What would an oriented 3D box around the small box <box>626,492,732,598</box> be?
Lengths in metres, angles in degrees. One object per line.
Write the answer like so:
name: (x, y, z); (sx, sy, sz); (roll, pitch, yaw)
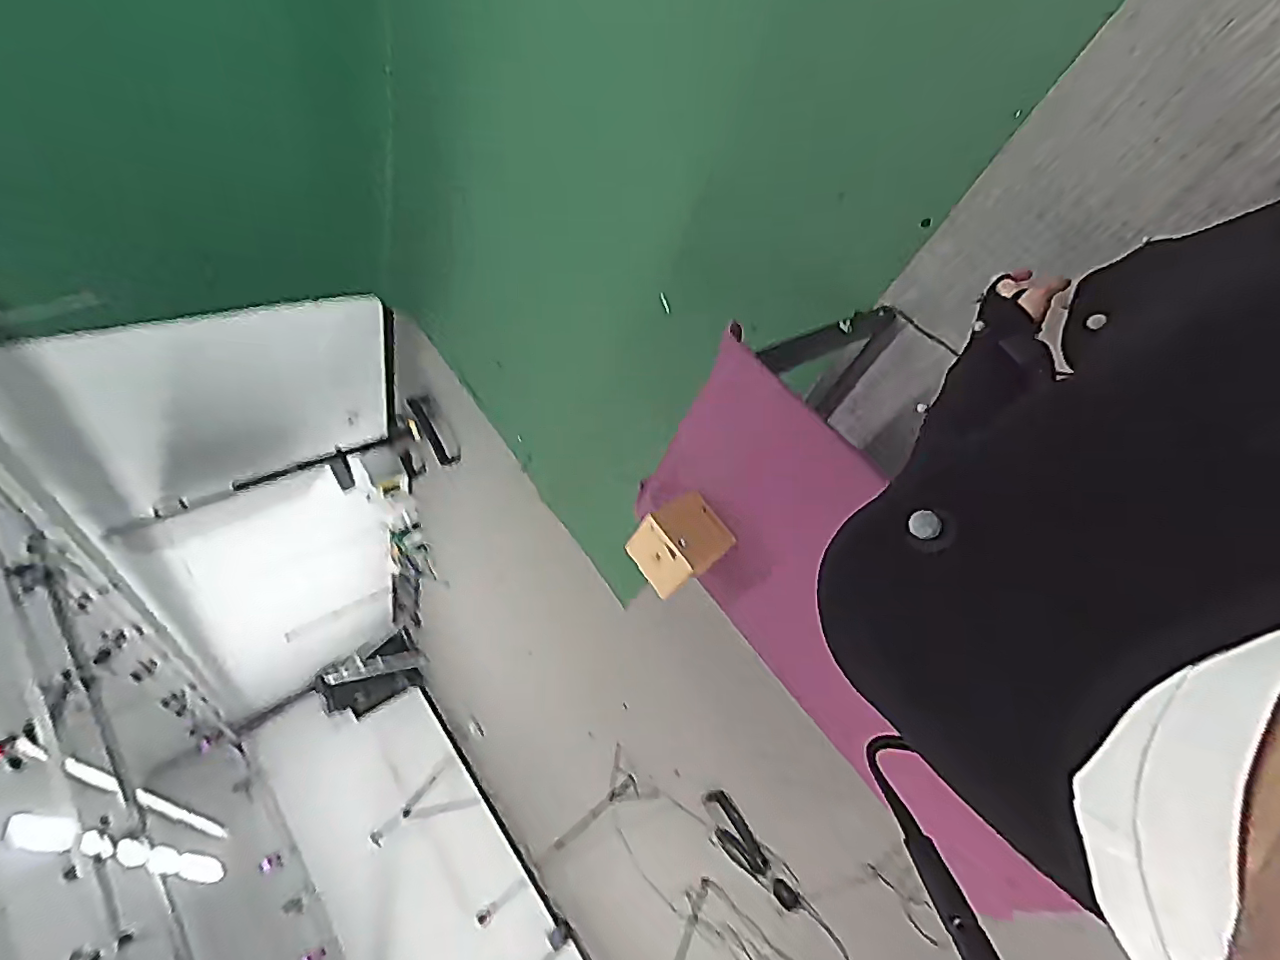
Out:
small box: (0.099, 0.161, 1.349); (0.168, 0.176, 0.179); (50, 141, 16)
